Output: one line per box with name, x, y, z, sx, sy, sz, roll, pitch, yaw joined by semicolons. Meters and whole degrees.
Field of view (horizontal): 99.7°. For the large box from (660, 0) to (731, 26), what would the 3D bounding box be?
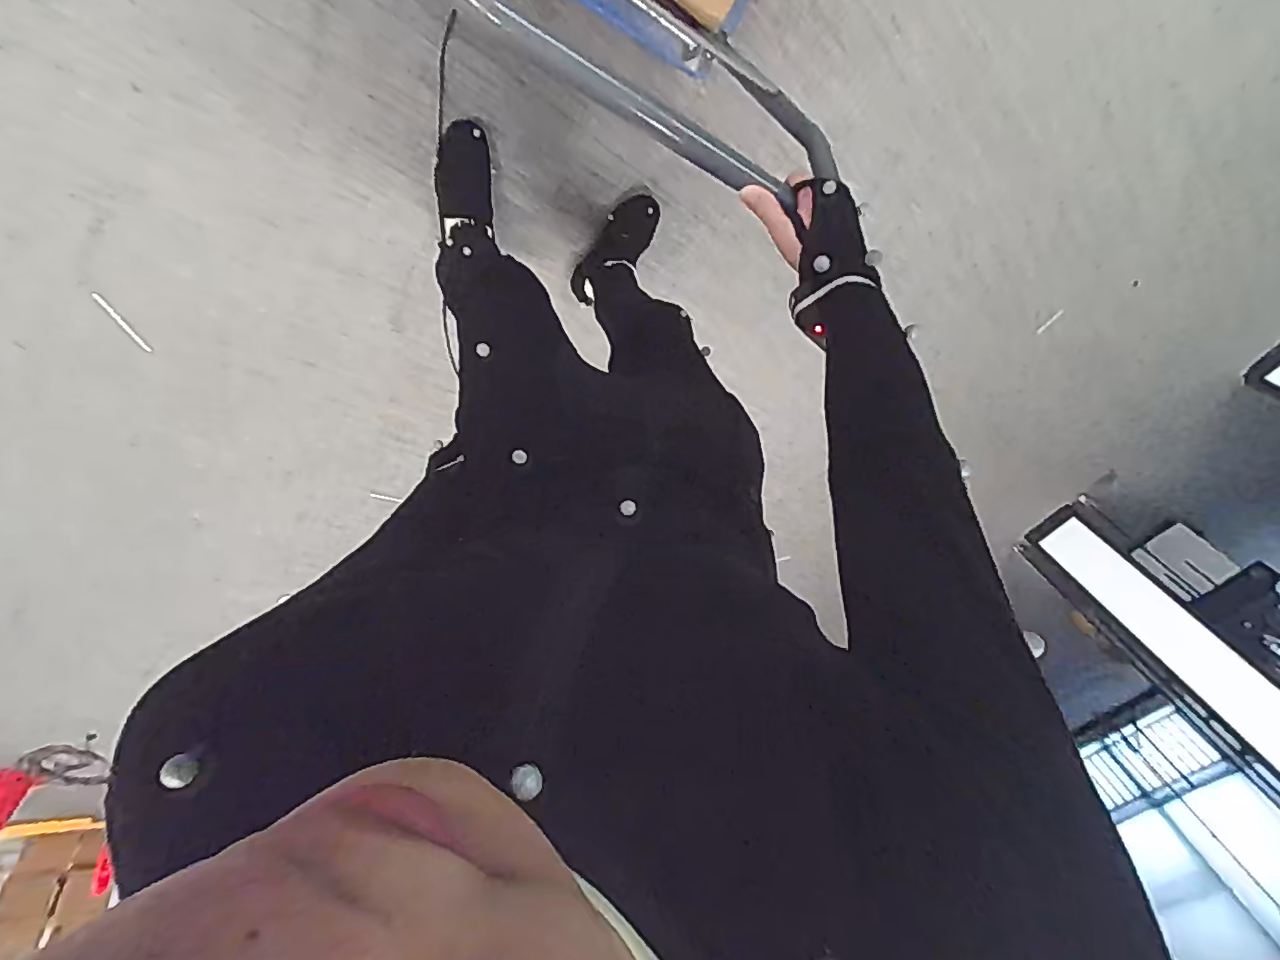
large box;0.041;-0.904;0.676;0.320;0.320;0.408;13;130;-31
